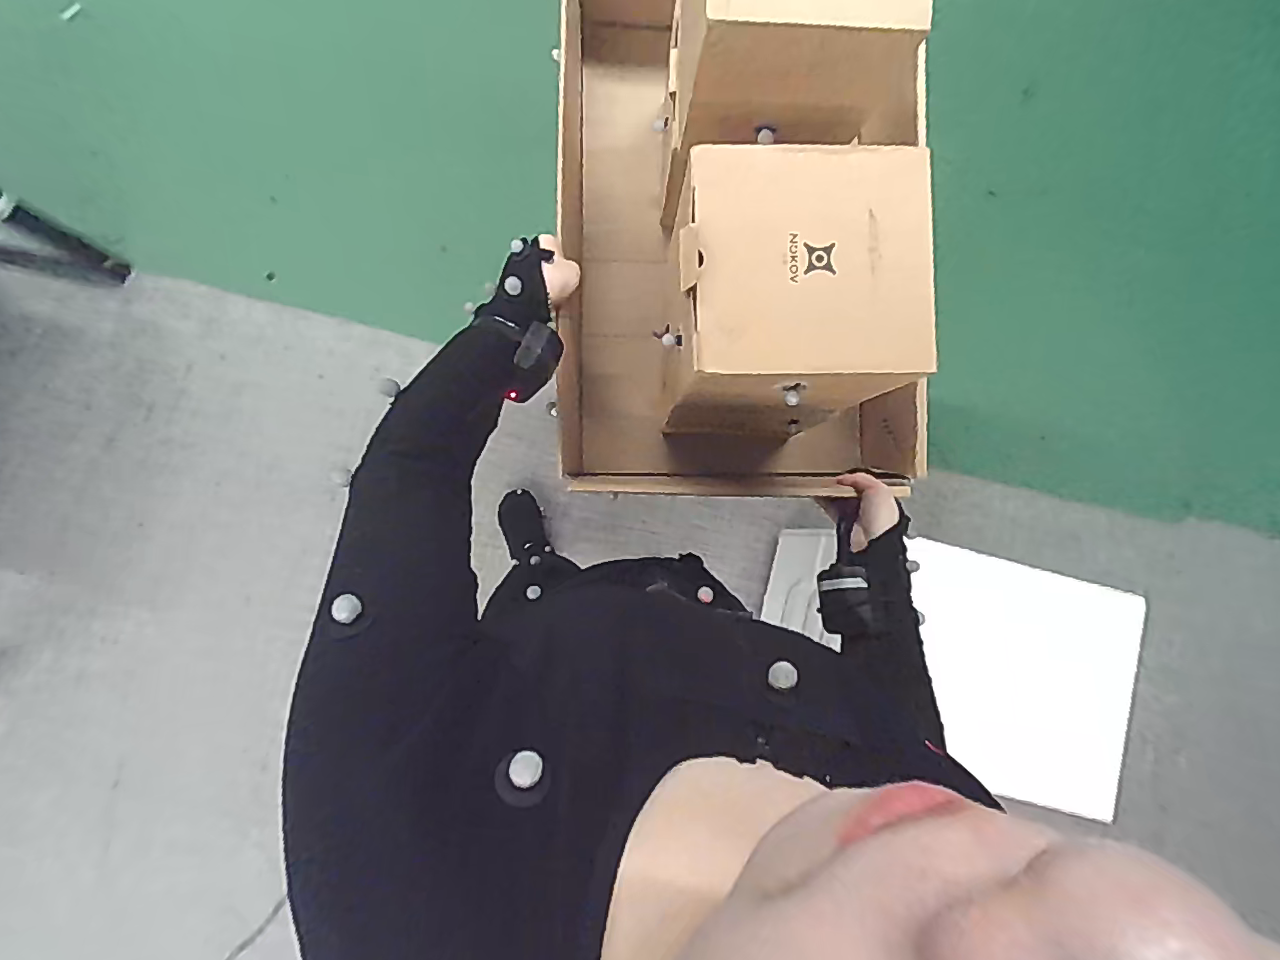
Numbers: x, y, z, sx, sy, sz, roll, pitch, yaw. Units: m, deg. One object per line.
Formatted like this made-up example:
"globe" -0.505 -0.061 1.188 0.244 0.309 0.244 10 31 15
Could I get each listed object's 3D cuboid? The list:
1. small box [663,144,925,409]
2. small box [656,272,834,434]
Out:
"small box" 0.112 -0.156 0.466 0.179 0.176 0.168 -2 89 -3
"small box" 0.109 -0.146 0.628 0.179 0.176 0.168 1 87 -2
